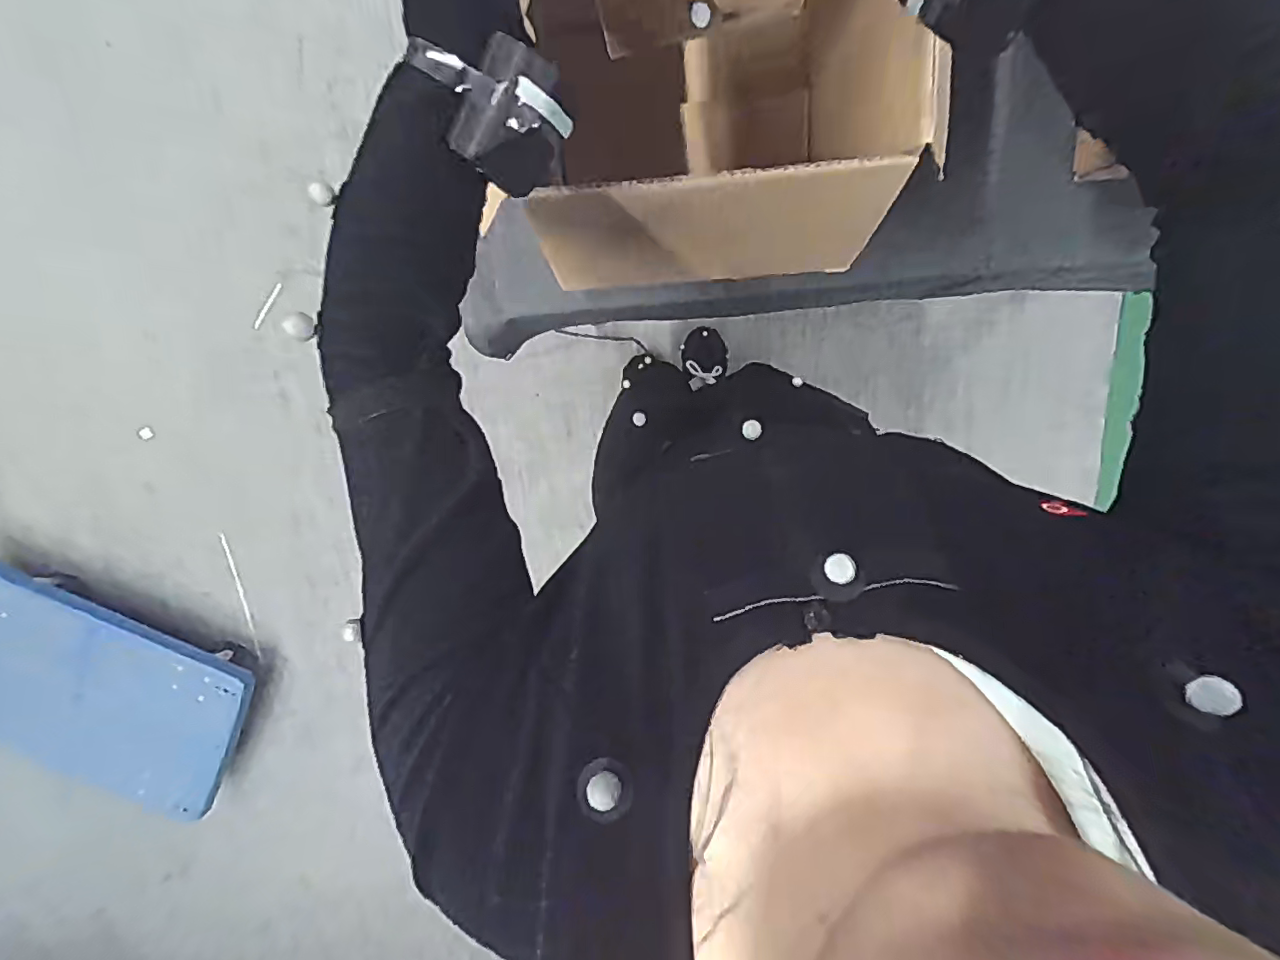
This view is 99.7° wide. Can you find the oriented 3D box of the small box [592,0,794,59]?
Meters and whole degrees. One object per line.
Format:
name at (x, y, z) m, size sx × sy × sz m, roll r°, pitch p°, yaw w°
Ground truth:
small box at (0.032, -0.448, 0.377) m, size 0.168 × 0.176 × 0.179 m, roll -8°, pitch 101°, yaw 6°
